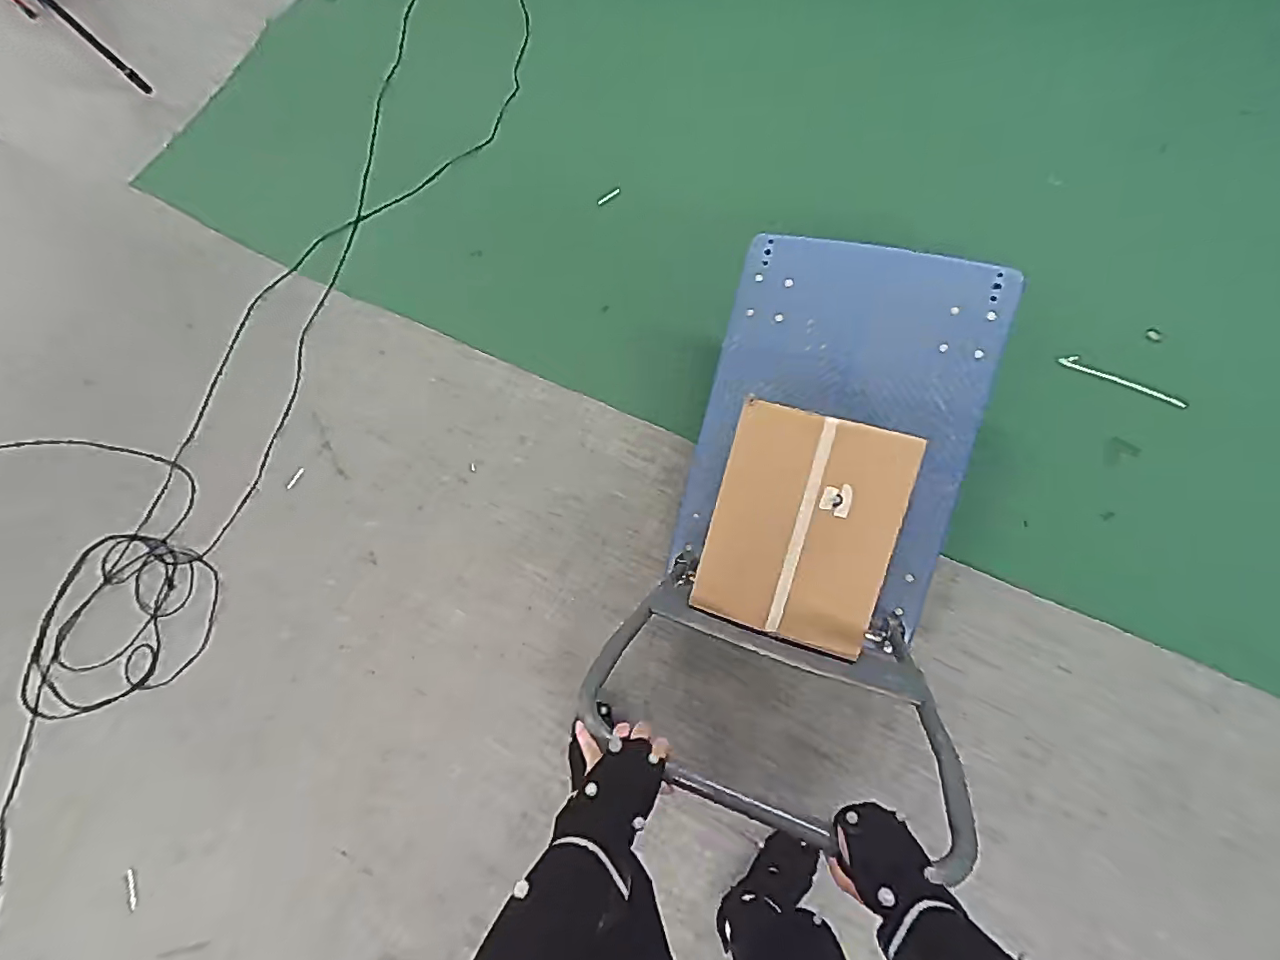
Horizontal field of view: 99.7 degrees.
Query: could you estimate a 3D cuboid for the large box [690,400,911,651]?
[{"bbox_3d":[0.325,0.078,1.132,0.320,0.320,0.408,16,96,15],"label":"large box"}]
